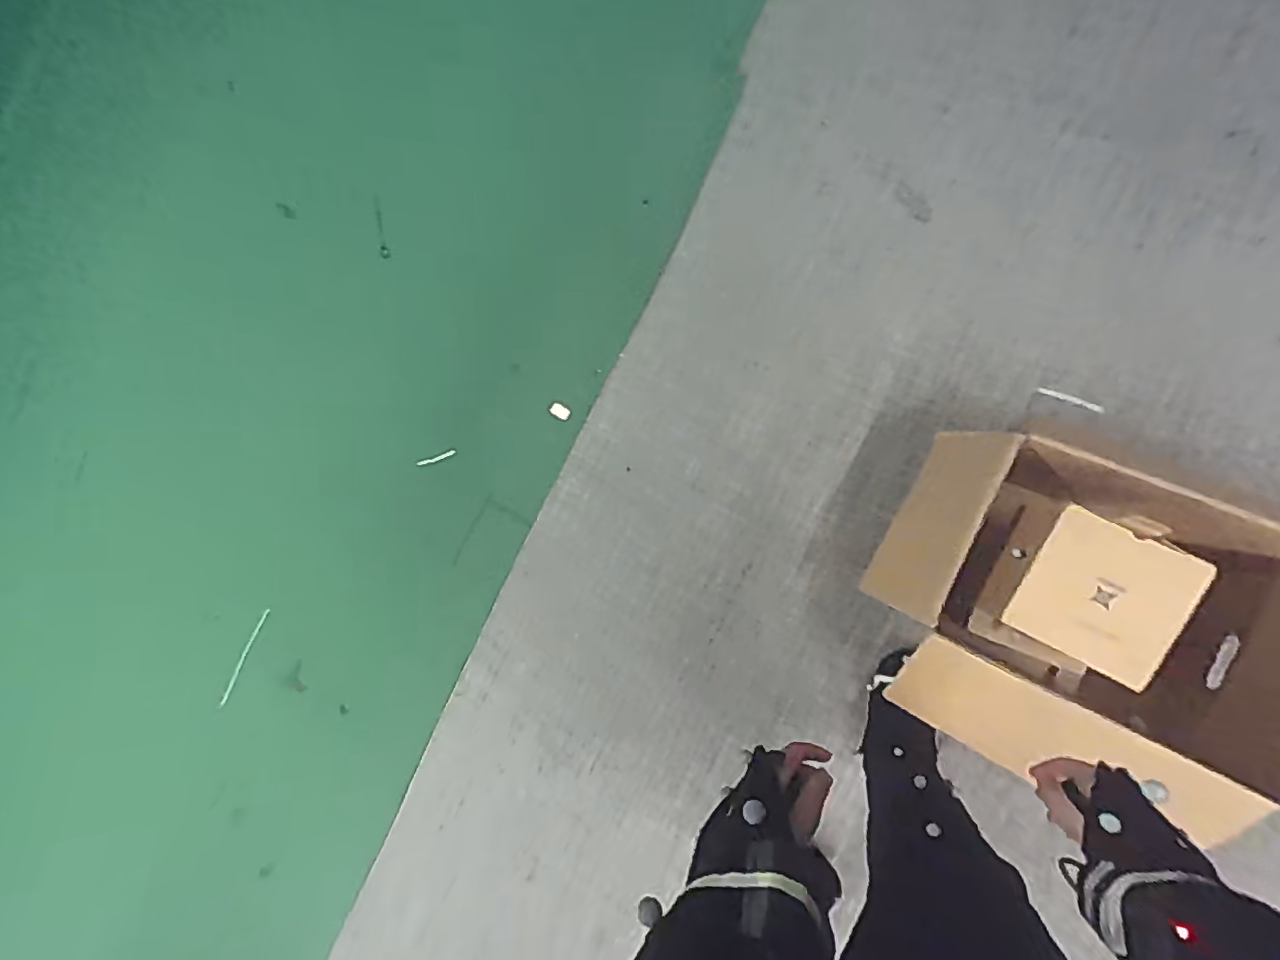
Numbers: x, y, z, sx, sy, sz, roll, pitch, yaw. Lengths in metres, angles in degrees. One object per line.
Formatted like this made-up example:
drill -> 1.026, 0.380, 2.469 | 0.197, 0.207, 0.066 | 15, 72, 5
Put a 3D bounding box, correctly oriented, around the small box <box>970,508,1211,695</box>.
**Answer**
small box -> 0.592, 0.153, 0.744 | 0.168, 0.176, 0.179 | 30, 95, 17
